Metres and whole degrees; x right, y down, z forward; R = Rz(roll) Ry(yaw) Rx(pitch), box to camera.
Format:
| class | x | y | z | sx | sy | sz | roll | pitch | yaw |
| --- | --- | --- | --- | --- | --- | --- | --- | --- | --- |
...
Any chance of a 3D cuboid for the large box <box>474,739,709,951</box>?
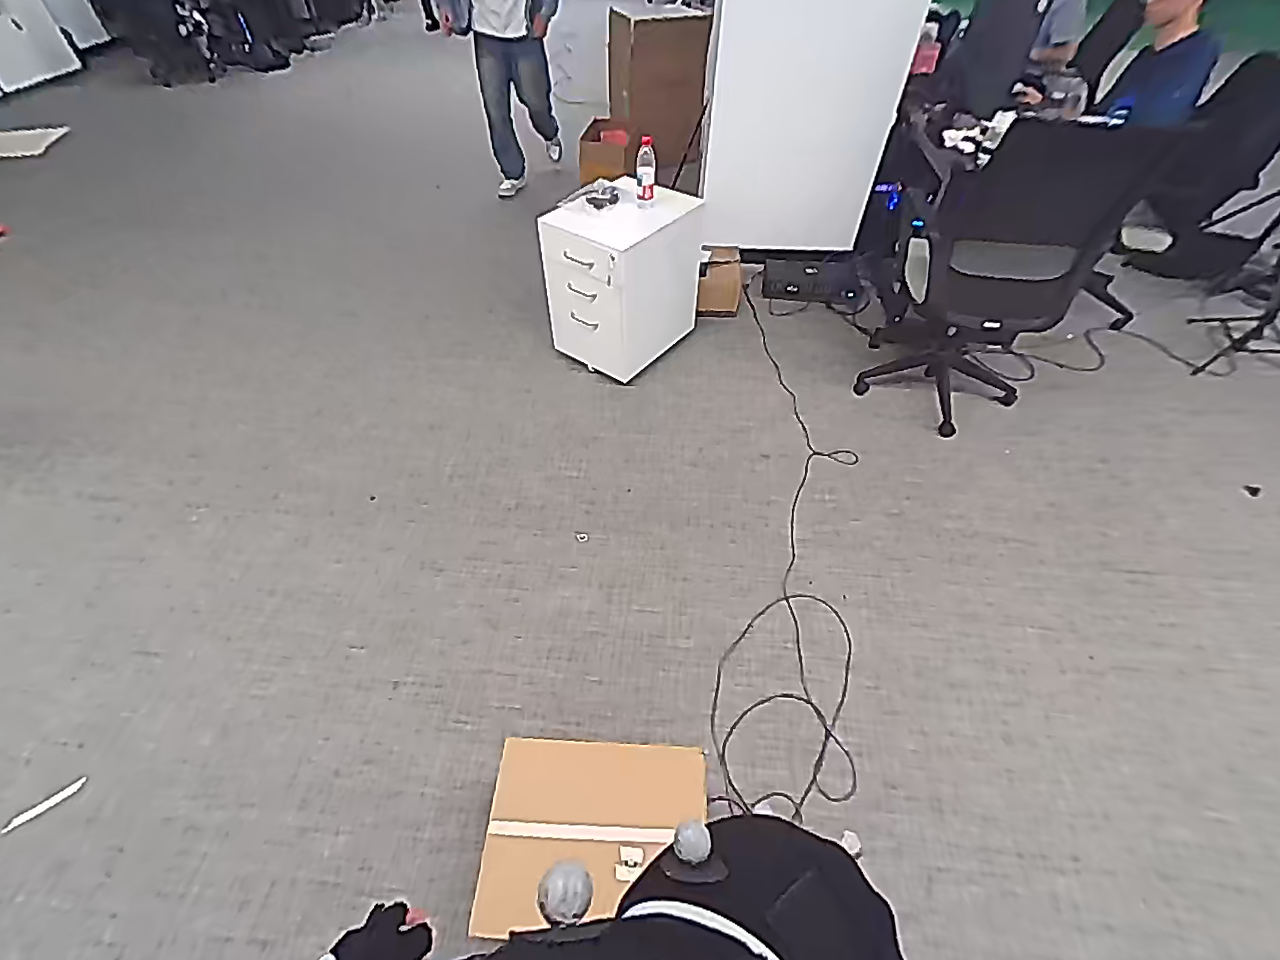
| class | x | y | z | sx | sy | sz | roll | pitch | yaw |
| --- | --- | --- | --- | --- | --- | --- | --- | --- | --- |
| large box | -0.082 | 0.752 | 1.109 | 0.408 | 0.320 | 0.320 | 3 | 48 | 1 |
